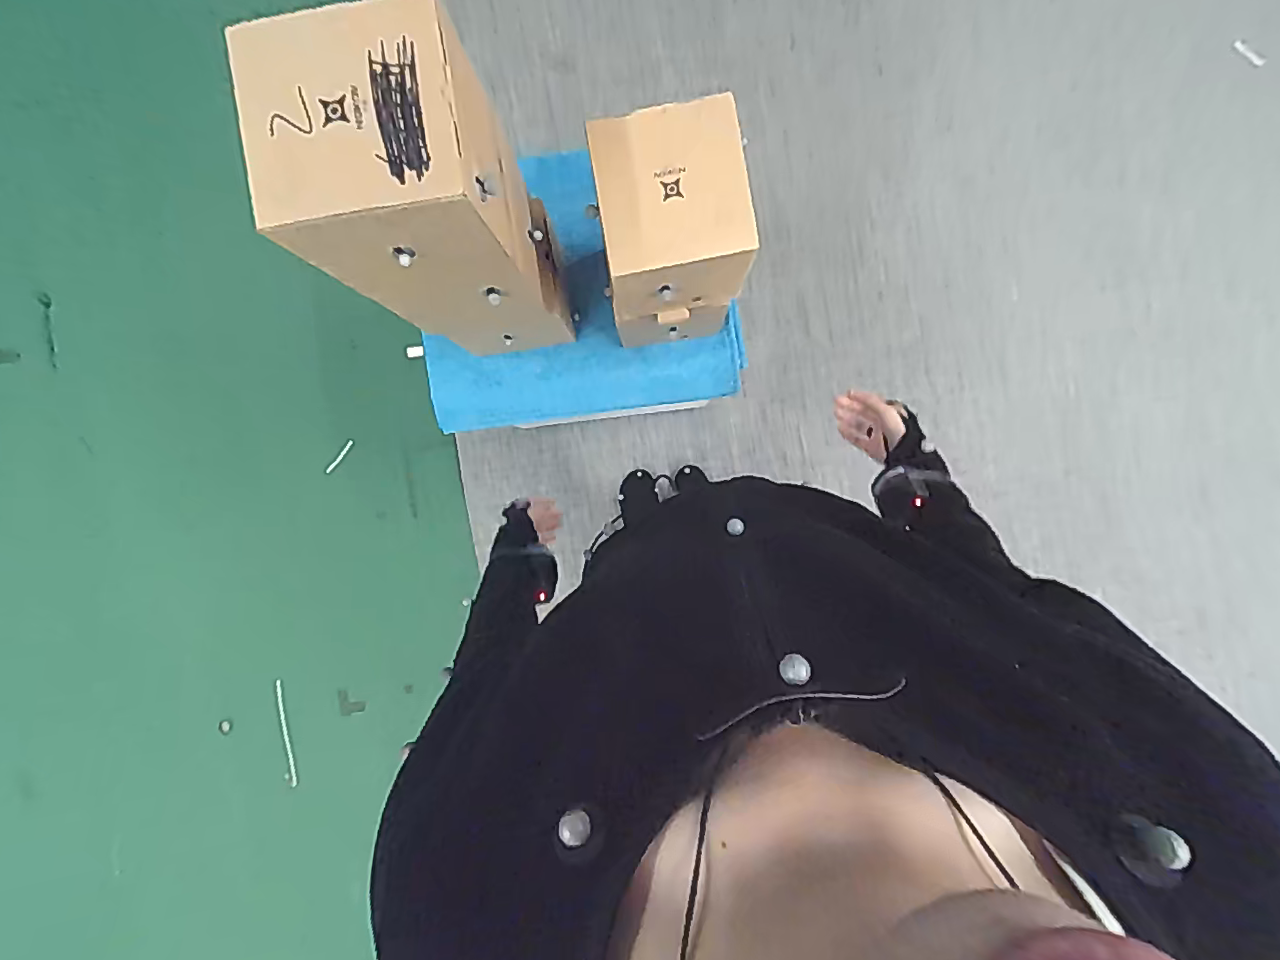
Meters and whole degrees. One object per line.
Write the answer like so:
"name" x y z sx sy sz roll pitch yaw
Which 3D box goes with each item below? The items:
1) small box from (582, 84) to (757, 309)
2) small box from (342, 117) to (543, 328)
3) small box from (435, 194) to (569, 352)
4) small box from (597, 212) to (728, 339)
"small box" 0.036 -0.320 0.654 0.168 0.176 0.179 -10 89 2
"small box" -0.223 -0.298 0.660 0.179 0.176 0.168 -9 90 2
"small box" -0.209 -0.303 0.824 0.179 0.176 0.168 -9 90 2
"small box" 0.034 -0.320 0.817 0.168 0.176 0.179 -8 91 2
